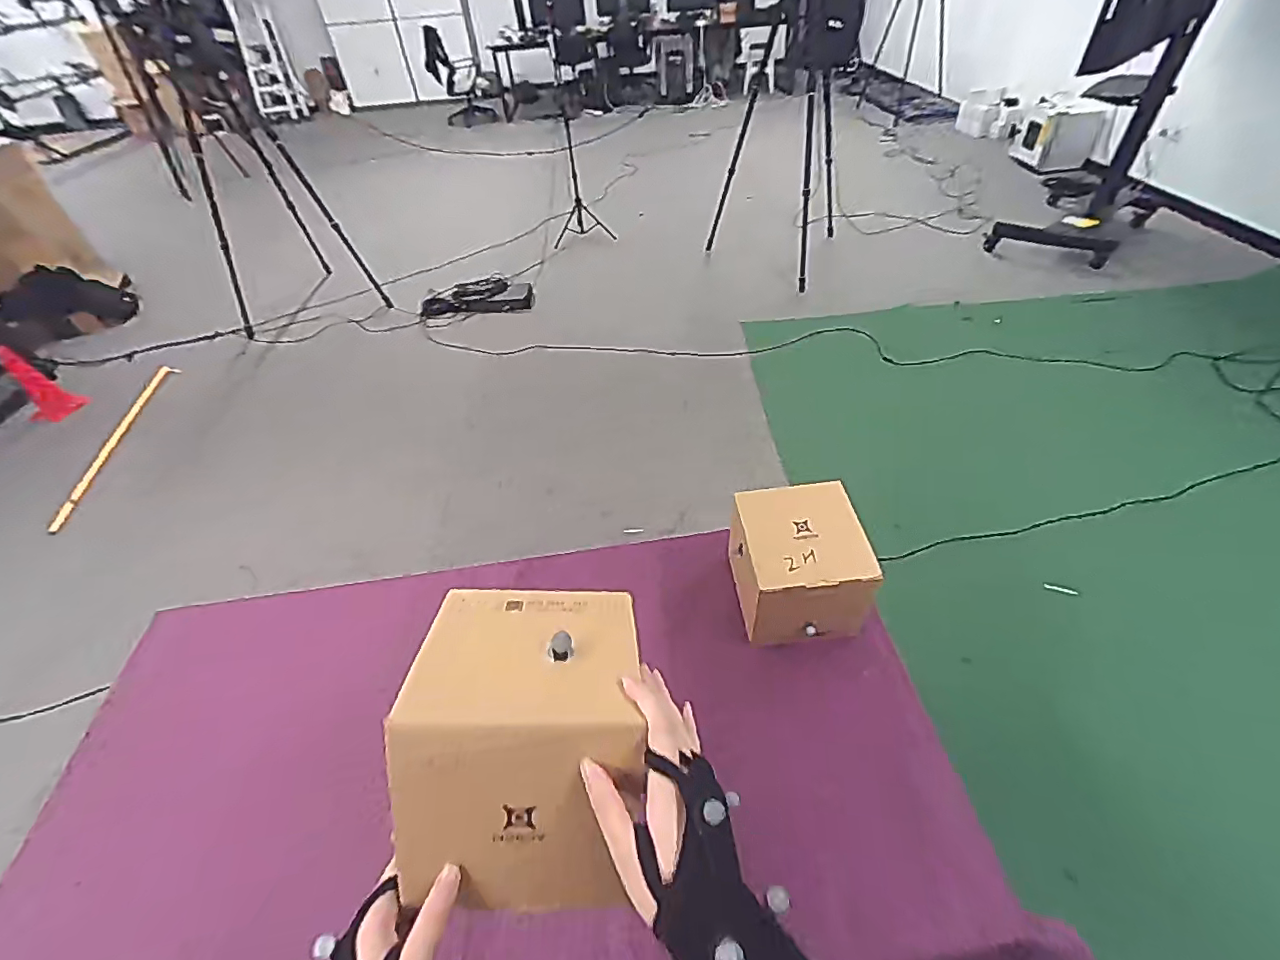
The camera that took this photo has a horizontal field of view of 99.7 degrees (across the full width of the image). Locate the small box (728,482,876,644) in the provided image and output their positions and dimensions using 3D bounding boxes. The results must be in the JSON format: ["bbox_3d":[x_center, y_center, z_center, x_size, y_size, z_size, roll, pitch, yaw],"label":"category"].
[{"bbox_3d":[0.231,0.128,0.826,0.168,0.176,0.179,-6,48,1],"label":"small box"}]

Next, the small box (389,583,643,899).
[{"bbox_3d":[-0.092,0.200,0.452,0.168,0.179,0.176,2,19,-6],"label":"small box"}]
